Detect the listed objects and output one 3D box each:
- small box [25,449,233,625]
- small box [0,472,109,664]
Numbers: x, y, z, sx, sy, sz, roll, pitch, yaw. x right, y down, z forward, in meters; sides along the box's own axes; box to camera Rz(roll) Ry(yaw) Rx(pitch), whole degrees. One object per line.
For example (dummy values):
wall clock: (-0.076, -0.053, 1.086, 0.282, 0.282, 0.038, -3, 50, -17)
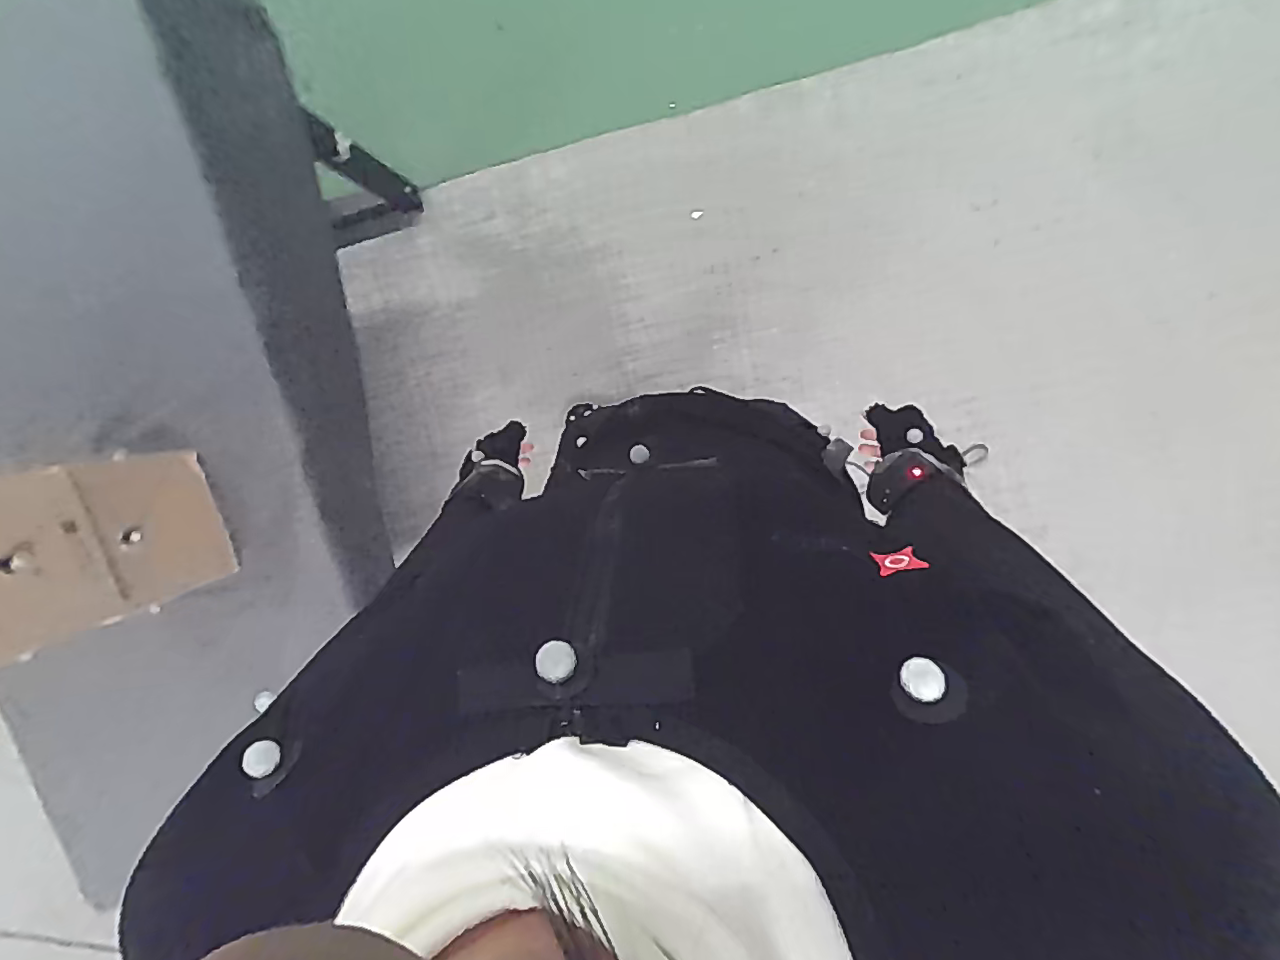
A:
small box: (-0.660, 0.071, 0.669, 0.168, 0.176, 0.179, -14, 98, 6)
small box: (-0.667, 0.099, 0.509, 0.179, 0.176, 0.168, -14, 99, 6)
